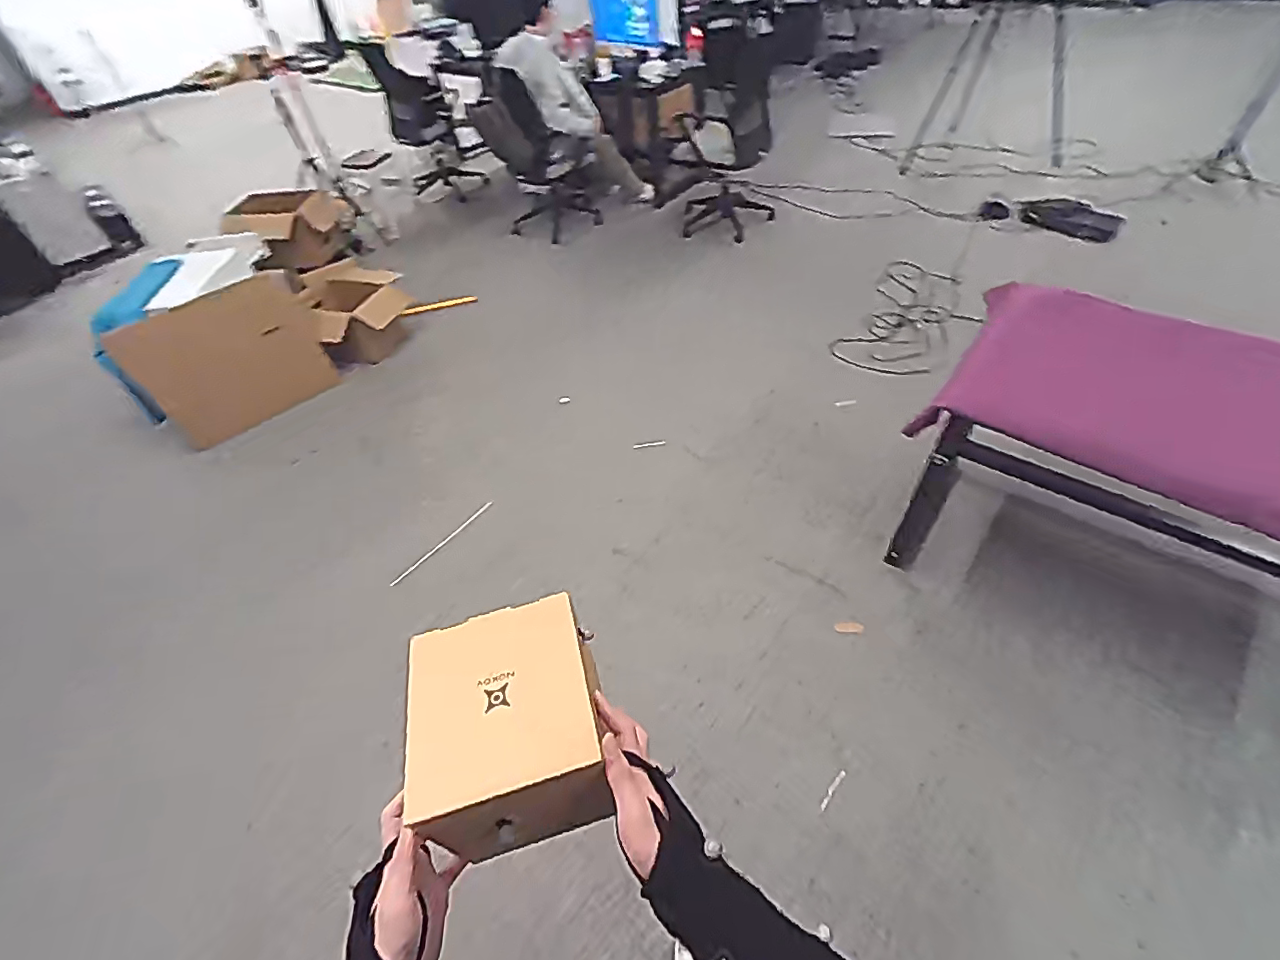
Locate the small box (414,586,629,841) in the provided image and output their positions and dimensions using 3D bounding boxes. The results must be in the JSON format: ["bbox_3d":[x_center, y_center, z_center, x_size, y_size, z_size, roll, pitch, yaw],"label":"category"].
[{"bbox_3d":[-0.115,0.244,0.556,0.168,0.176,0.179,-16,46,-6],"label":"small box"}]
